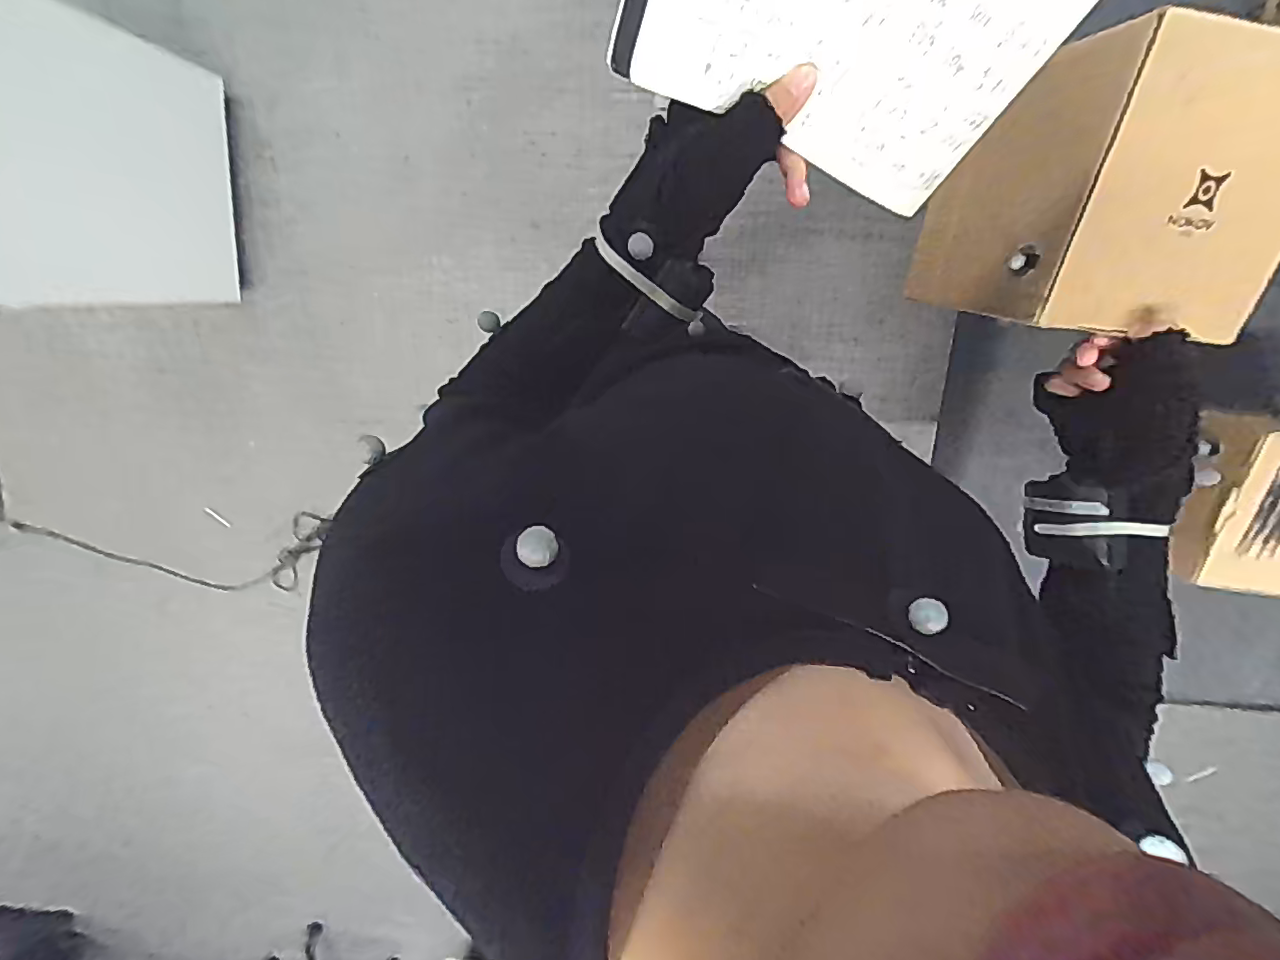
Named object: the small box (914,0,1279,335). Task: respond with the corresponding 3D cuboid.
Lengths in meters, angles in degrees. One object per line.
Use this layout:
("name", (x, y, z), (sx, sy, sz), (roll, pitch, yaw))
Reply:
("small box", (0.348, -0.220, 0.418), (0.168, 0.176, 0.179), (1, 115, -10))
